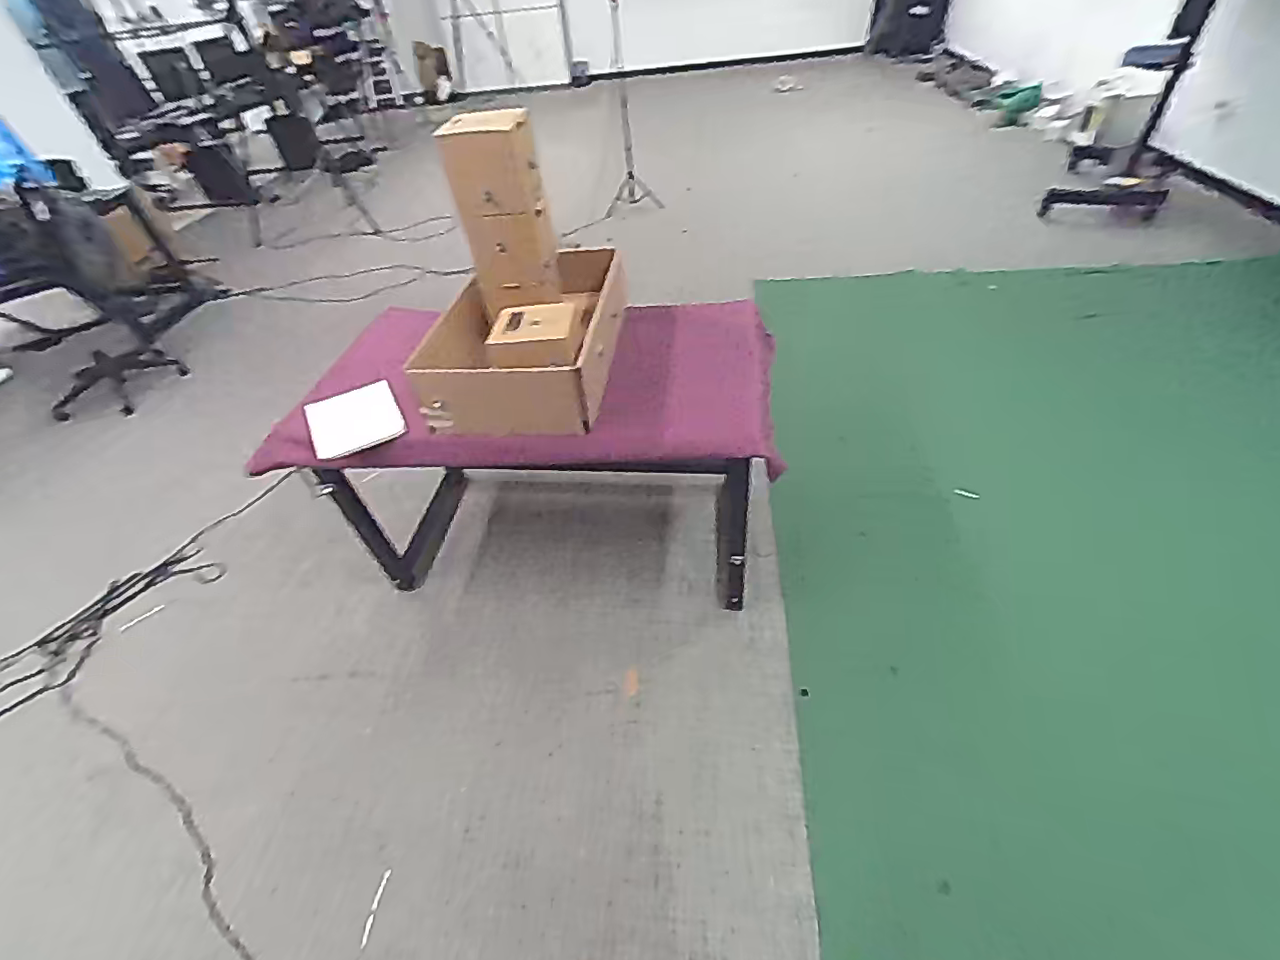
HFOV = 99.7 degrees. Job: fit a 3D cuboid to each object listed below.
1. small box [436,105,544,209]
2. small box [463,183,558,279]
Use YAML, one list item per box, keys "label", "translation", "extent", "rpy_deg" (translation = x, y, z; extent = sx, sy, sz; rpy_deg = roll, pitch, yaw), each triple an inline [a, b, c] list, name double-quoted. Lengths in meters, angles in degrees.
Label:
- label: "small box"
  translation: [-0.330, -0.737, 1.238]
  extent: [0.179, 0.176, 0.168]
  rpy_deg: [2, 46, 8]
- label: "small box"
  translation: [-0.313, -0.621, 1.354]
  extent: [0.179, 0.176, 0.168]
  rpy_deg: [-1, 46, 7]
